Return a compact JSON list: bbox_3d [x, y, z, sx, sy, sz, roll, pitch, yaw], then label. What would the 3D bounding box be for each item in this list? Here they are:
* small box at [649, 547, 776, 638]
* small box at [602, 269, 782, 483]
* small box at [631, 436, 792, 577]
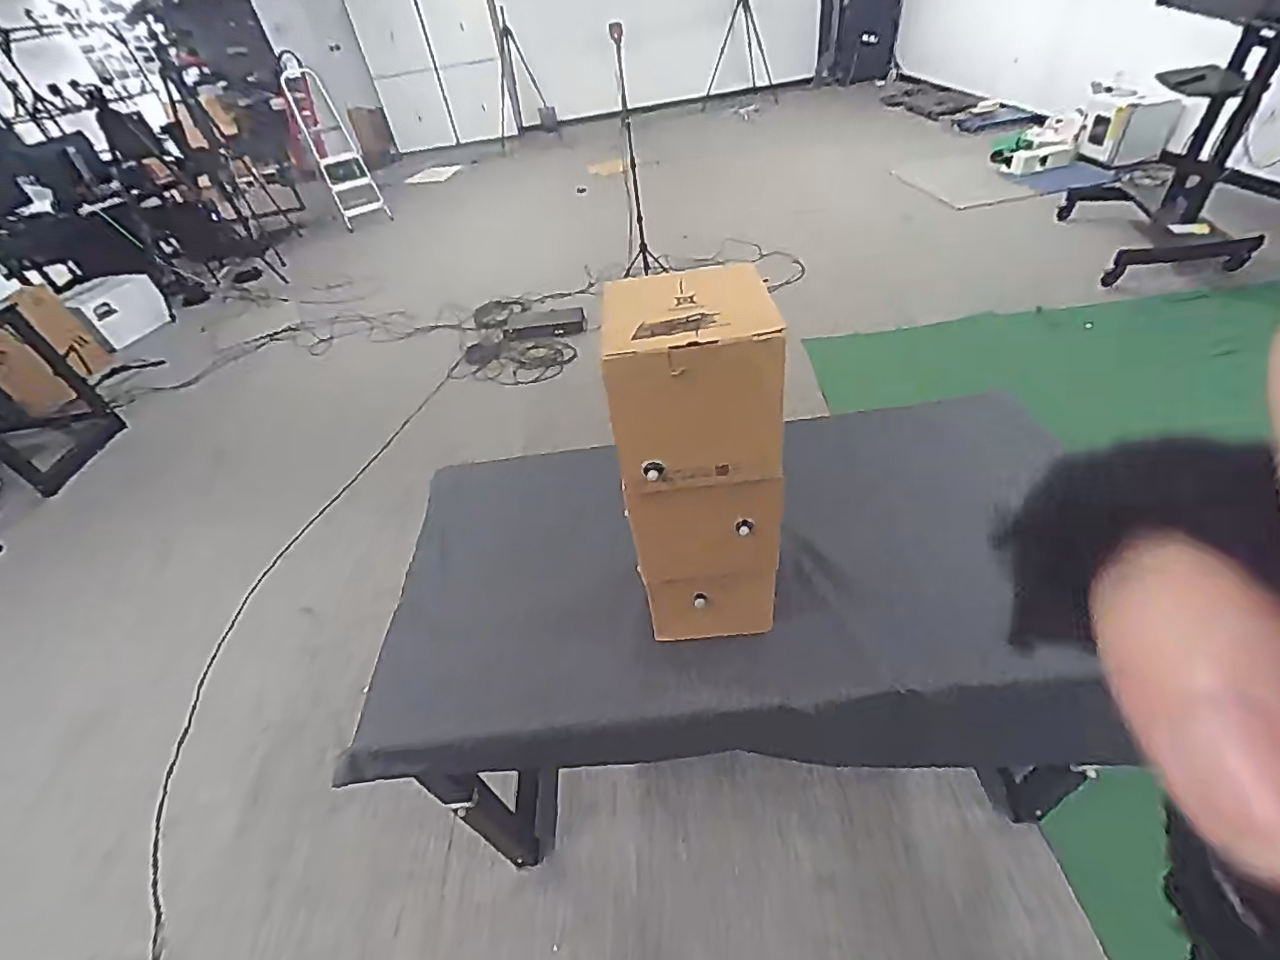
[{"bbox_3d":[0.102,0.122,0.824,0.179,0.176,0.168,-8,40,2],"label":"small box"},{"bbox_3d":[0.057,-0.107,0.592,0.168,0.176,0.179,-6,40,4],"label":"small box"},{"bbox_3d":[0.079,0.002,0.690,0.179,0.176,0.168,-8,42,1],"label":"small box"}]
